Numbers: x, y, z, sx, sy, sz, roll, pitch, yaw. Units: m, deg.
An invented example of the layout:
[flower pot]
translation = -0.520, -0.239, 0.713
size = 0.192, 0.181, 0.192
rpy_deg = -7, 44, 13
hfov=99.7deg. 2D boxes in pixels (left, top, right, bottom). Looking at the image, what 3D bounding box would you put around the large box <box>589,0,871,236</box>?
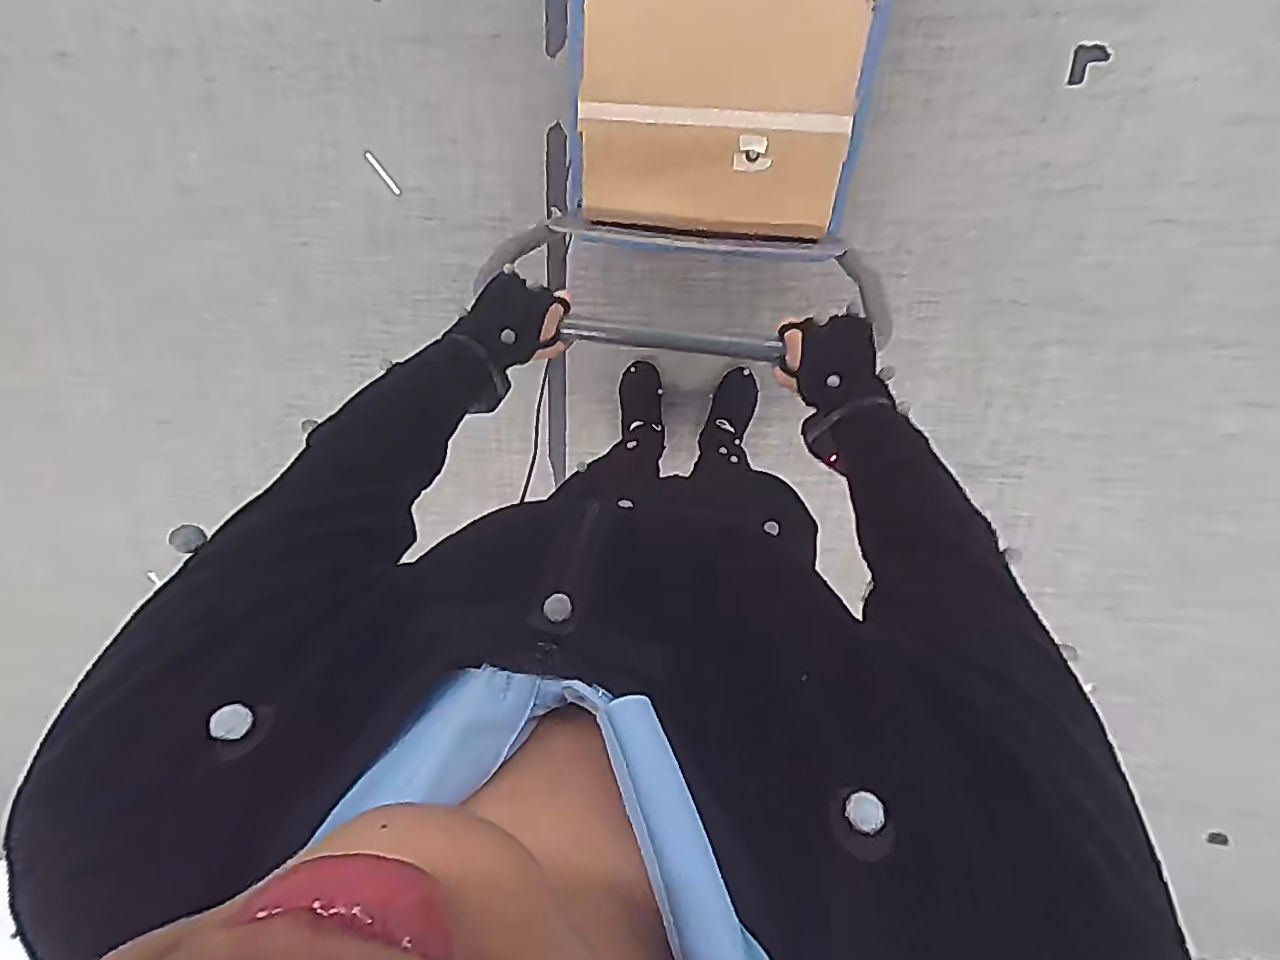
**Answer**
[large box]
translation = 0.134, -0.625, 0.963
size = 0.408, 0.320, 0.320
rpy_deg = 7, 120, 5
